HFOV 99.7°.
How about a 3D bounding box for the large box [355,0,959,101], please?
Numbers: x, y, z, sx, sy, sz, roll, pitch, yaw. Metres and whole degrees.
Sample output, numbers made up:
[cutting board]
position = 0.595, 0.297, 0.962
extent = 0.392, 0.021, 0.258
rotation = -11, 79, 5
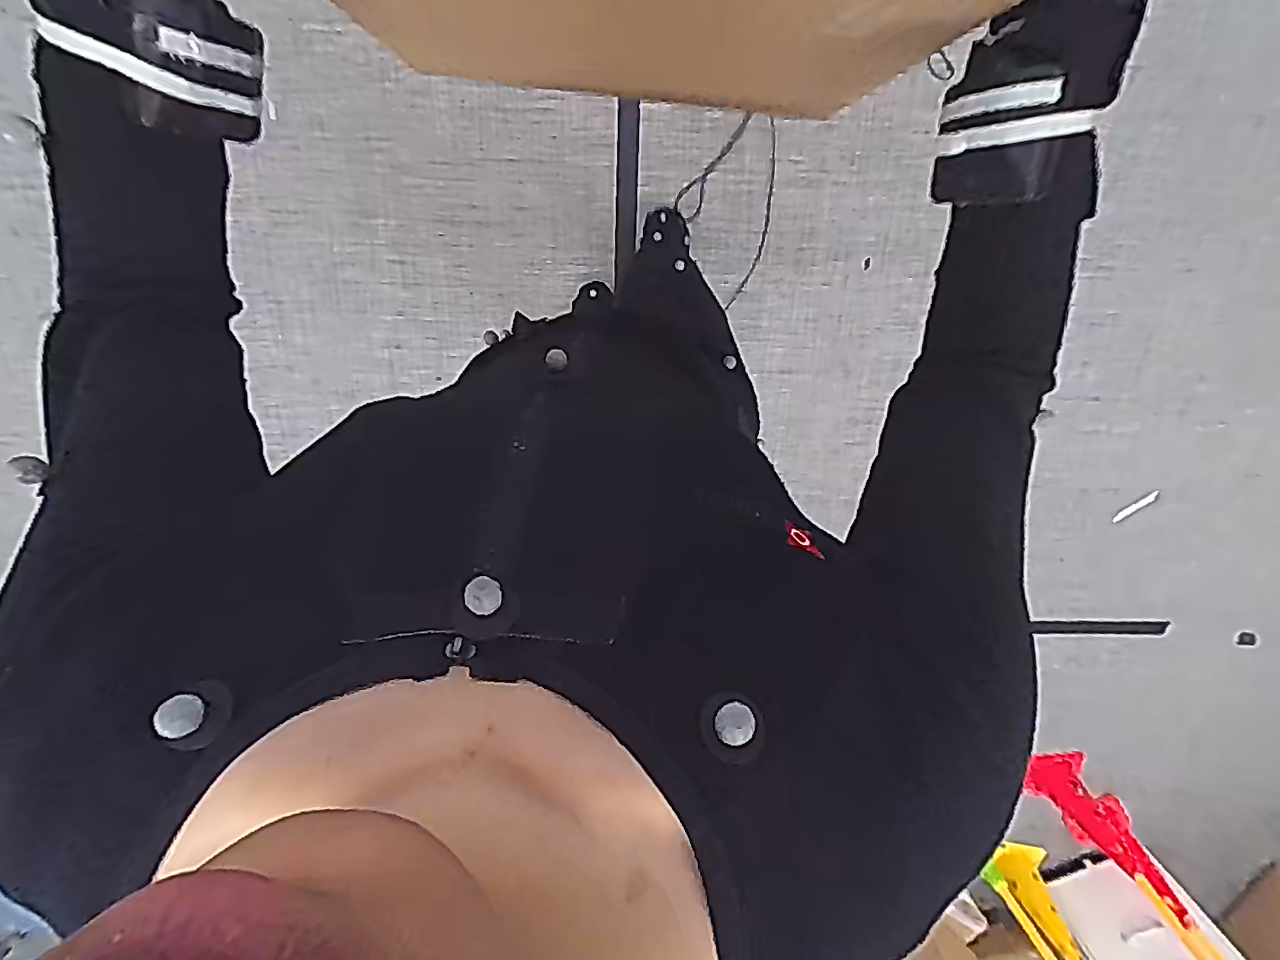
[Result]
[large box]
position = 0.003, -0.463, 0.328
extent = 0.408, 0.320, 0.320
rotation = 3, 114, -4
